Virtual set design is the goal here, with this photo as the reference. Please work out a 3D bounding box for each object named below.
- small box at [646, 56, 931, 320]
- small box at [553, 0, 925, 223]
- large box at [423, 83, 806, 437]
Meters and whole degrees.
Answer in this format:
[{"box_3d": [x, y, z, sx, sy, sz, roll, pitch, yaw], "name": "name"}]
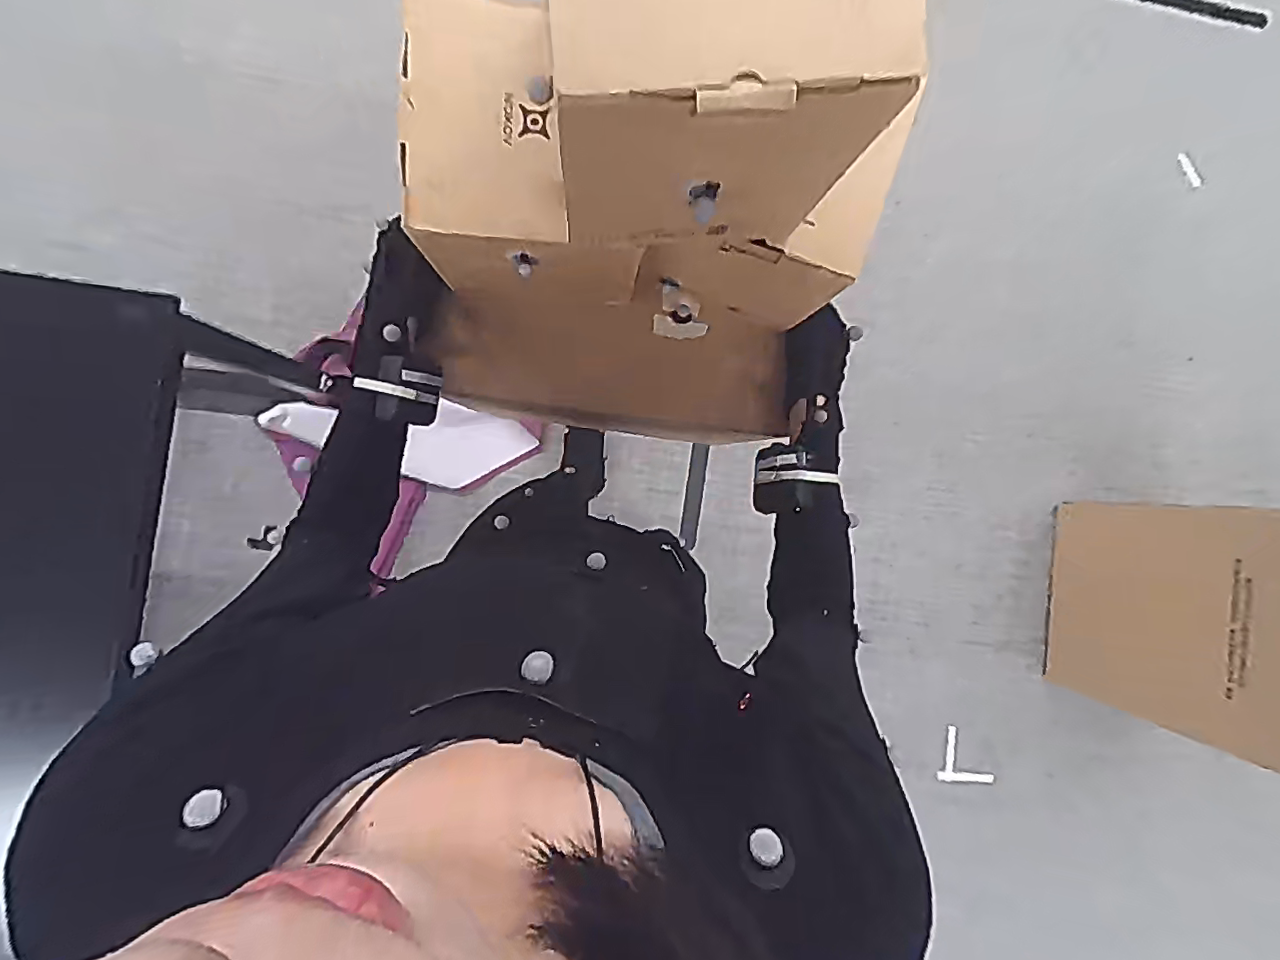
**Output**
[{"box_3d": [0.110, -0.266, 0.481, 0.168, 0.176, 0.179, 20, 89, -5], "name": "small box"}, {"box_3d": [0.034, -0.264, 0.311, 0.168, 0.176, 0.179, -5, 93, -5], "name": "small box"}, {"box_3d": [-0.029, -0.236, 0.715, 0.408, 0.320, 0.320, 7, 92, -6], "name": "large box"}]
